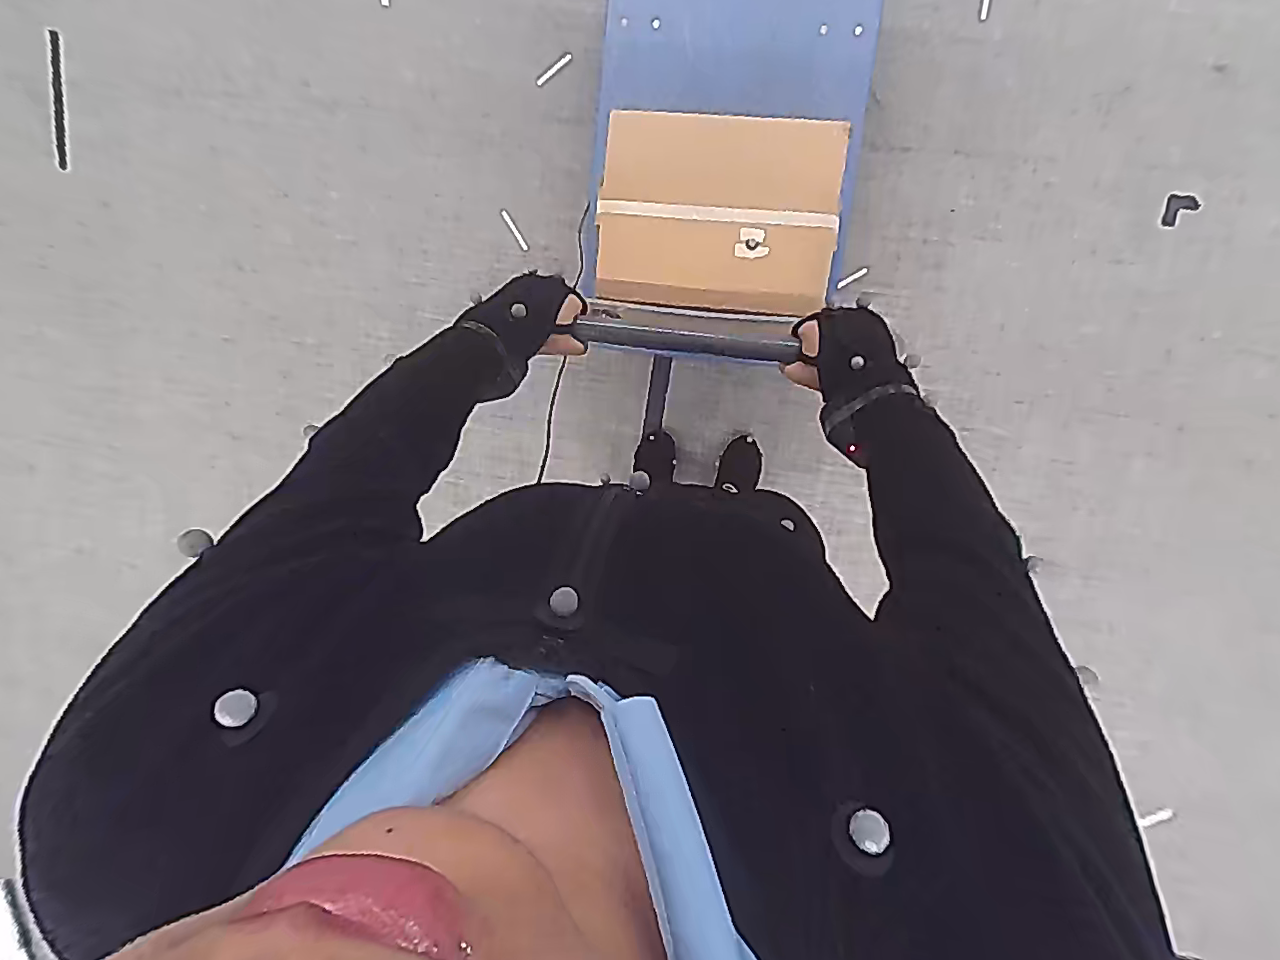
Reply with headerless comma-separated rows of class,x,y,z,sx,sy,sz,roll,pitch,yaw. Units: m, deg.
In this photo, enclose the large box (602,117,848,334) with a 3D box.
large box,0.154,-0.482,1.090,0.408,0.320,0.320,7,100,6
